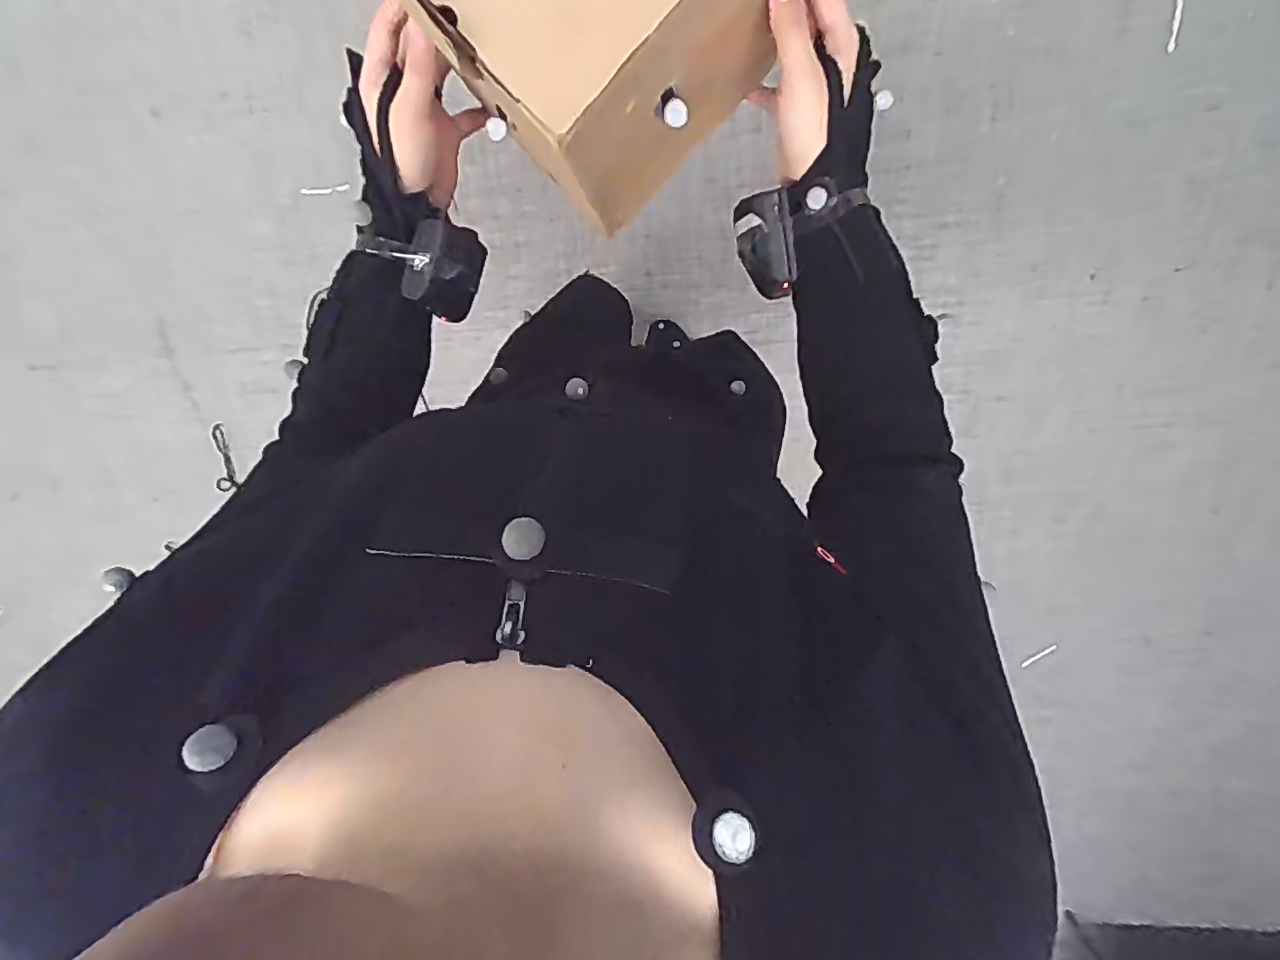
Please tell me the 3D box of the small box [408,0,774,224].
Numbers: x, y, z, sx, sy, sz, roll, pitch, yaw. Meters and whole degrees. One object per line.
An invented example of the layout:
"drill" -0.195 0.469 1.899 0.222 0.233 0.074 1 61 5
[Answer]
"small box" -0.026 -0.301 0.342 0.179 0.176 0.168 -44 92 11
